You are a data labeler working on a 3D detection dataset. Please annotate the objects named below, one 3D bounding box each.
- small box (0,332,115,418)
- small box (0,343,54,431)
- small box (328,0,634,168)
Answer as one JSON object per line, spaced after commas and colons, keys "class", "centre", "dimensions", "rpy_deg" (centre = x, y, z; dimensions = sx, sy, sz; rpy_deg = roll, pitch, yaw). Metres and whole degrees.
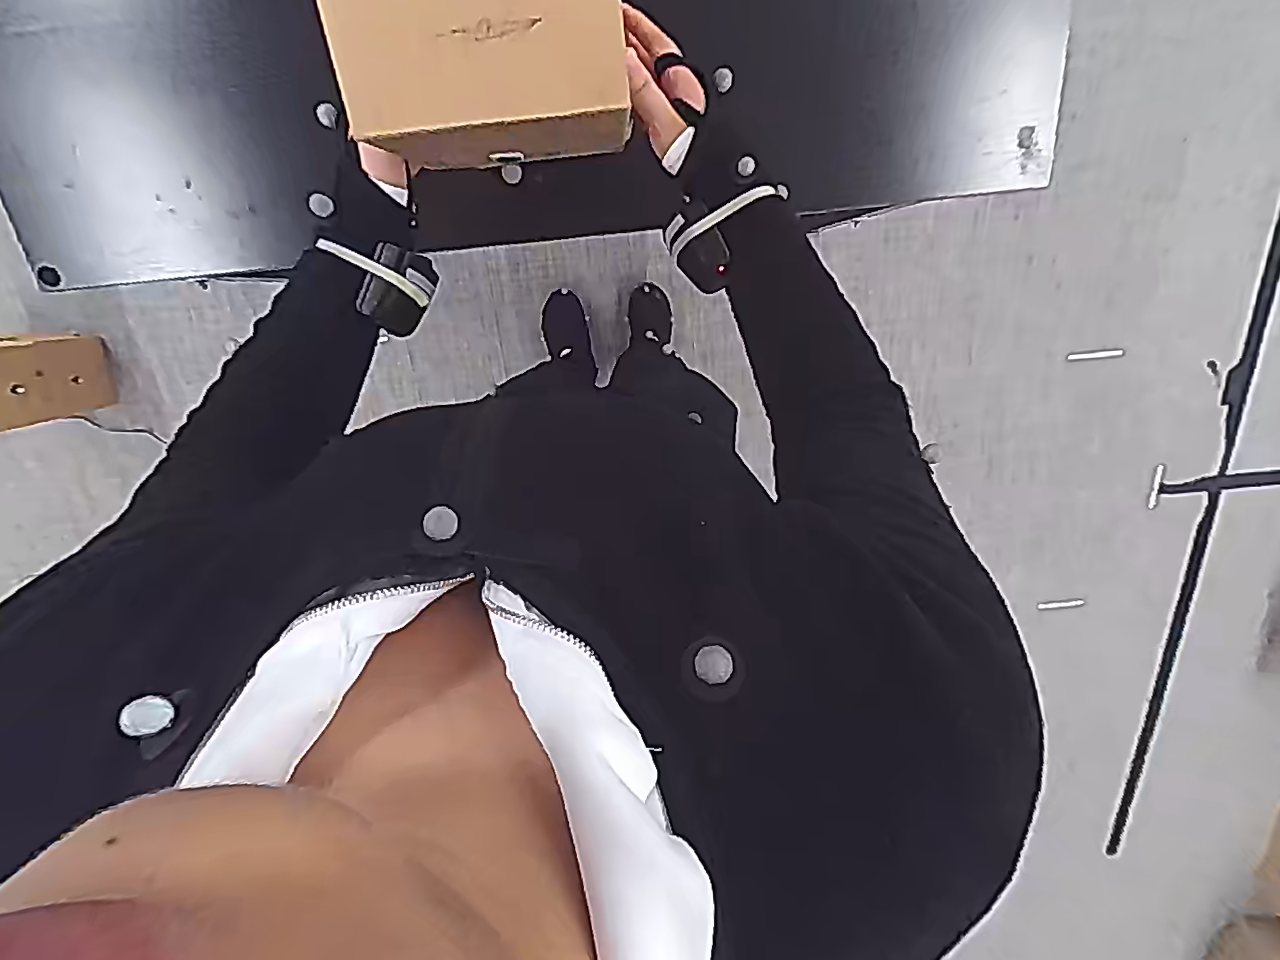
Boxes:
{"class": "small box", "centre": [-1.404, -0.251, 1.268], "dimensions": [0.168, 0.176, 0.179], "rpy_deg": [2, 109, -4]}
{"class": "small box", "centre": [-1.384, -0.193, 1.115], "dimensions": [0.179, 0.176, 0.168], "rpy_deg": [-1, 108, -3]}
{"class": "small box", "centre": [-0.097, -0.326, 0.360], "dimensions": [0.168, 0.176, 0.179], "rpy_deg": [-7, 114, 0]}
